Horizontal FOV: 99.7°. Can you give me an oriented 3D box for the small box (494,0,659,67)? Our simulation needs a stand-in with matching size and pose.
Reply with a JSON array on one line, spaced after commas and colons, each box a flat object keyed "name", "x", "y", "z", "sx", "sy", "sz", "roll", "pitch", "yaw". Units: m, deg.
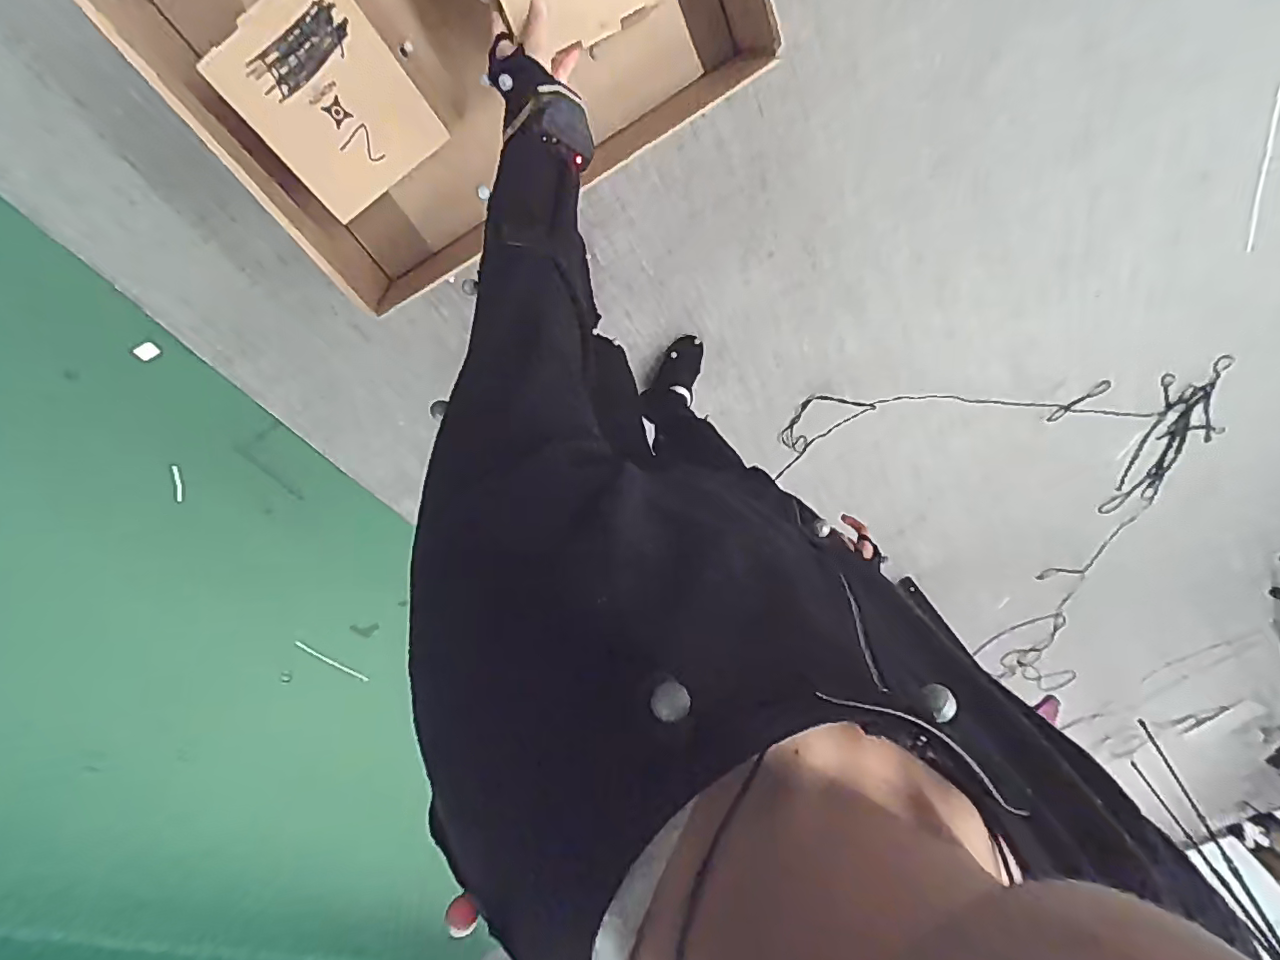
[{"name": "small box", "x": -0.088, "y": -0.567, "z": 0.564, "sx": 0.168, "sy": 0.176, "sz": 0.179, "roll": -23, "pitch": 126, "yaw": 5}]

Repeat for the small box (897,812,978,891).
[{"name": "small box", "x": 1.021, "y": 1.276, "z": 1.861, "sx": 0.168, "sy": 0.176, "sz": 0.179, "roll": -32, "pitch": 127, "yaw": 11}]
